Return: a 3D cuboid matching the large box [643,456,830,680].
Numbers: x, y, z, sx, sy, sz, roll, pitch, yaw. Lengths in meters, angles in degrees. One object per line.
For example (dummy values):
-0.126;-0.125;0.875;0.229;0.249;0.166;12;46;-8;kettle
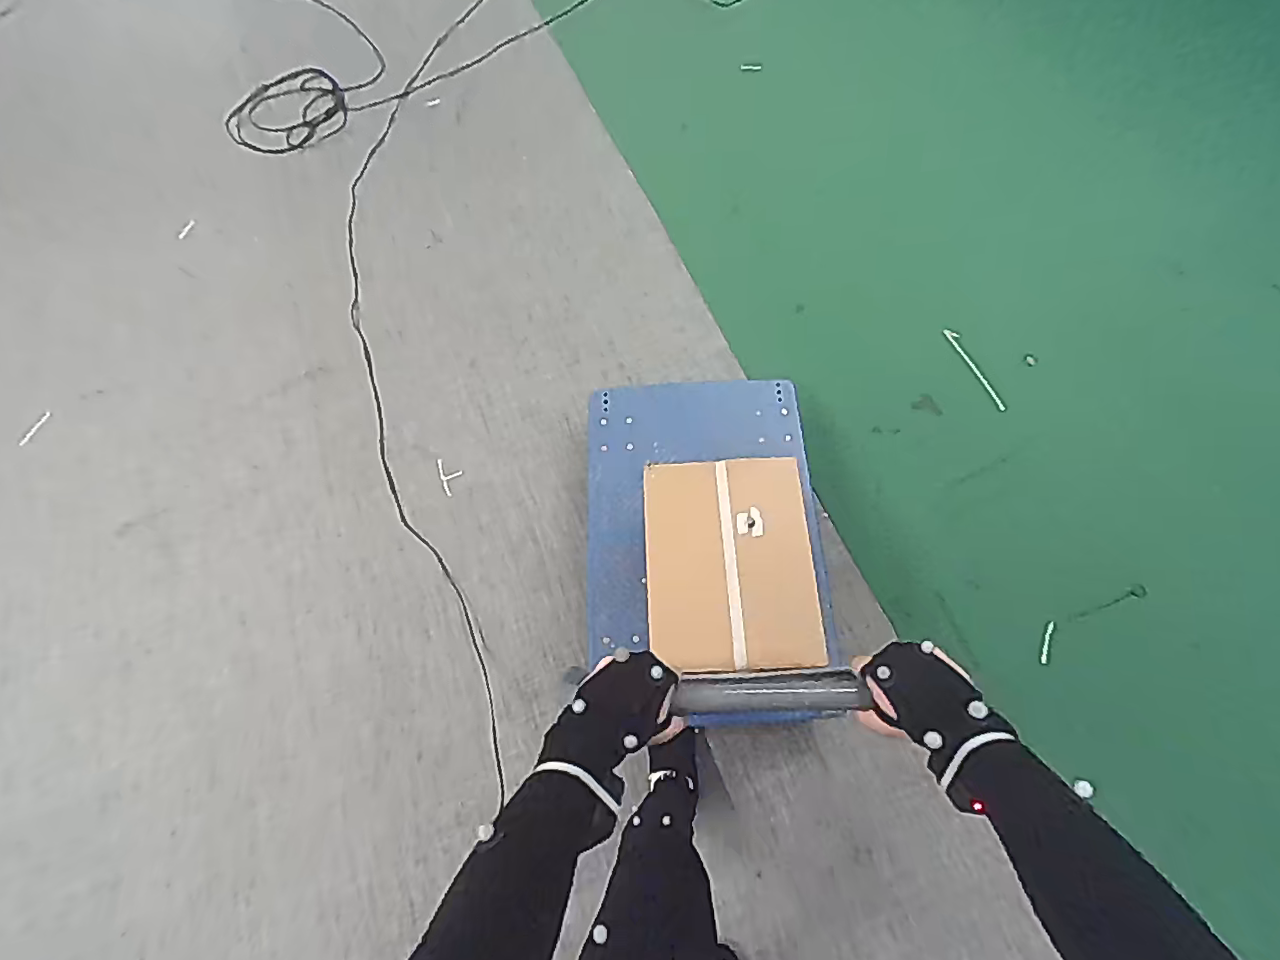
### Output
0.181;0.202;1.167;0.320;0.320;0.408;-4;67;1;large box
